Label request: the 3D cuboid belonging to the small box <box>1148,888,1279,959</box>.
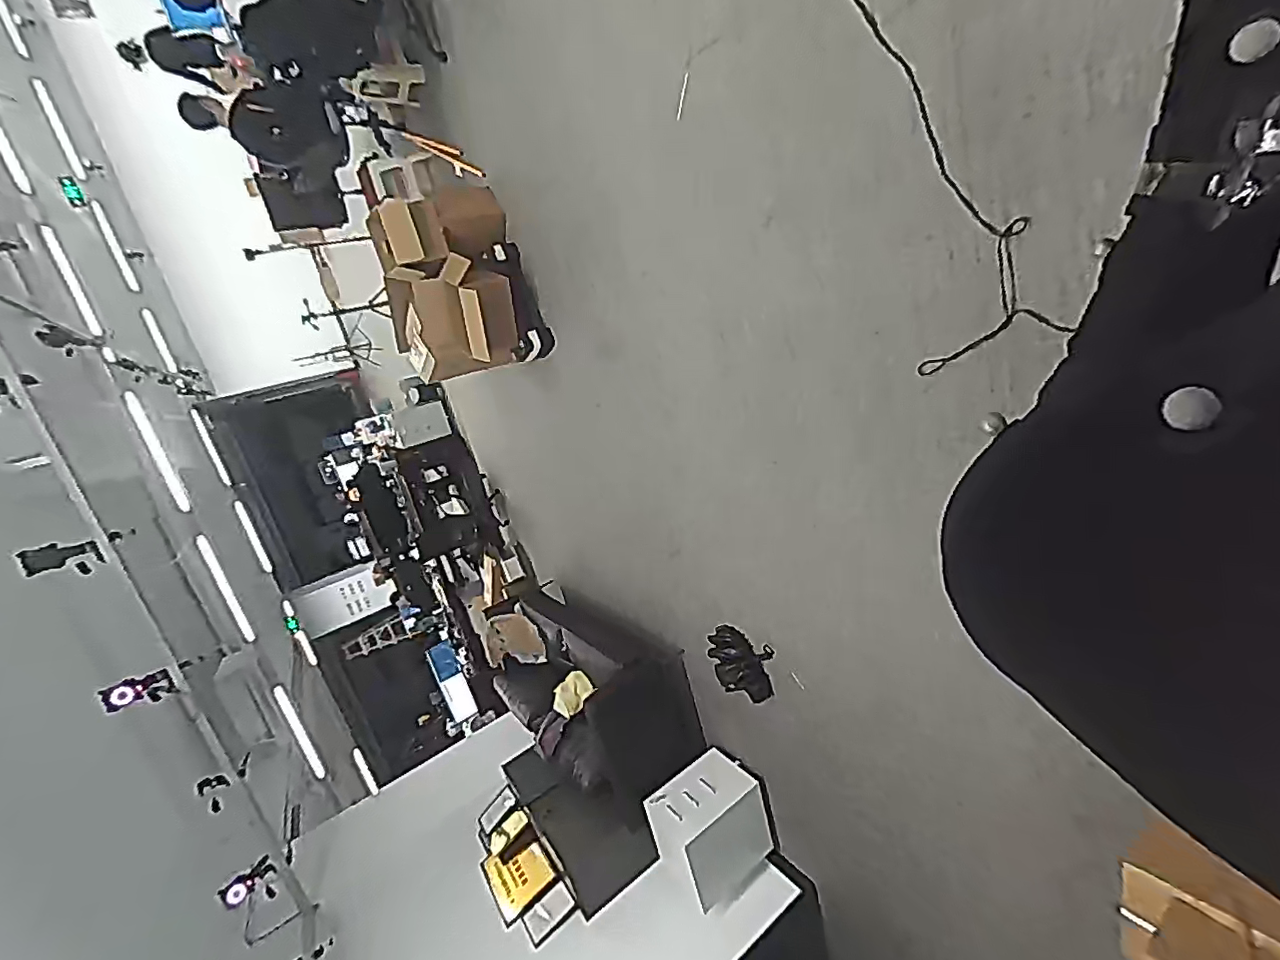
[{"bbox_3d":[1.151,0.977,1.074,0.179,0.176,0.168,18,124,55],"label":"small box"}]
